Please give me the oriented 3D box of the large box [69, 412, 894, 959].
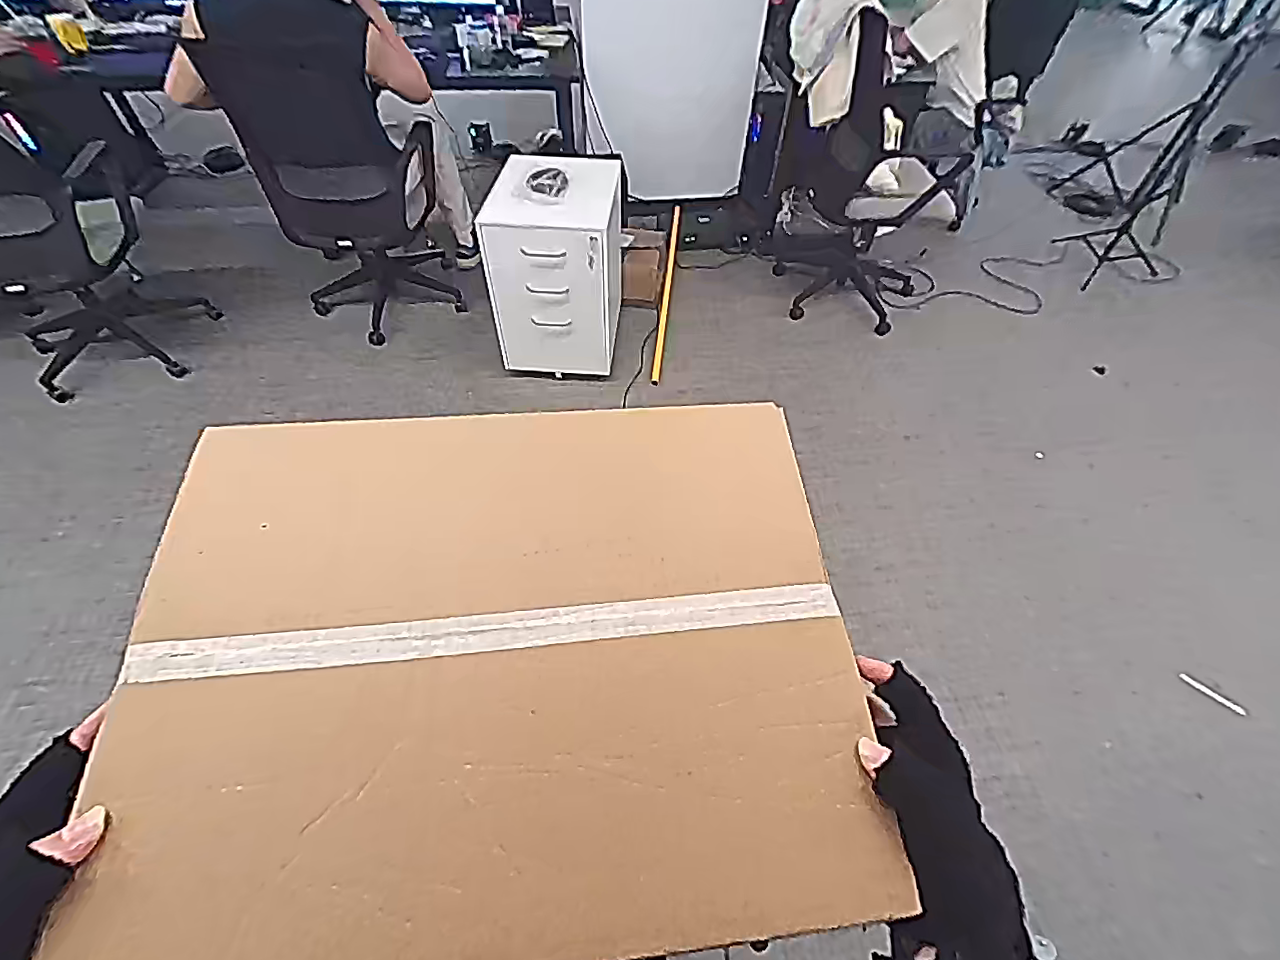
[{"bbox_3d":[-0.087,0.167,0.457,0.408,0.320,0.320,-4,61,-6],"label":"large box"}]
